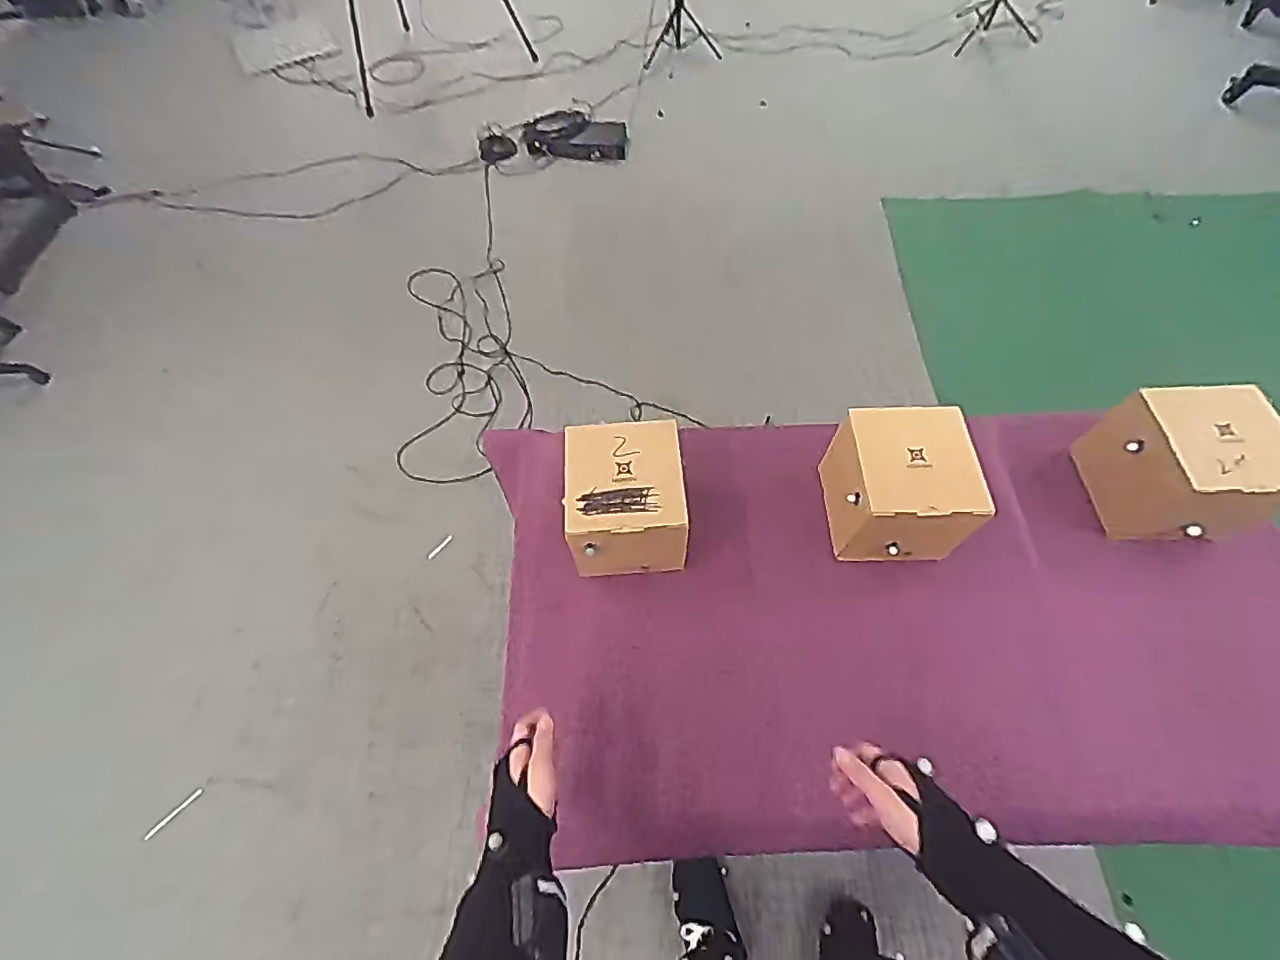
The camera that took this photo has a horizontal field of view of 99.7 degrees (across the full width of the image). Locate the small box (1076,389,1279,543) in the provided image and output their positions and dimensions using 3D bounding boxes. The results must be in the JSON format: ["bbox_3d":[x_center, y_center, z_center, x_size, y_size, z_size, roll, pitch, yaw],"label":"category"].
[{"bbox_3d":[0.817,-0.017,0.818,0.168,0.176,0.179,-1,61,4],"label":"small box"}]

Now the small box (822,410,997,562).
[{"bbox_3d":[0.389,0.012,0.819,0.168,0.176,0.179,-1,62,1],"label":"small box"}]
